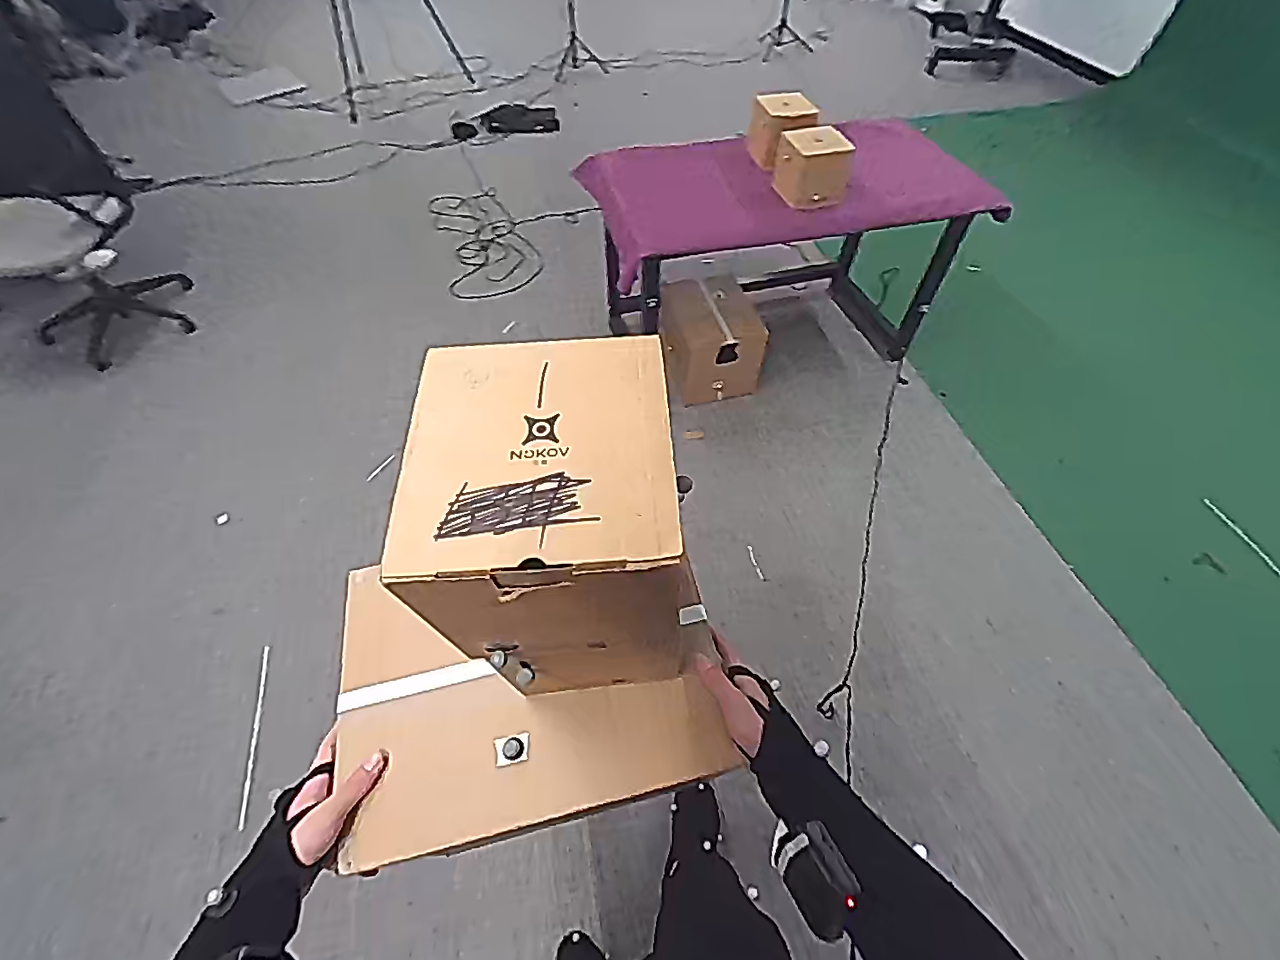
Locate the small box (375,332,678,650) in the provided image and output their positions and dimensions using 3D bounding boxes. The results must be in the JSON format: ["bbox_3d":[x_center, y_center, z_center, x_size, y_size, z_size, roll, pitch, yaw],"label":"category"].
[{"bbox_3d":[-0.059,0.018,0.394,0.168,0.176,0.179,-3,57,0],"label":"small box"}]

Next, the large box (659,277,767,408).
[{"bbox_3d":[0.279,-0.560,2.203,0.320,0.320,0.408,-12,53,-9],"label":"large box"}]

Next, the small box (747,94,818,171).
[{"bbox_3d":[0.476,-1.180,1.836,0.168,0.176,0.179,-10,55,-7],"label":"small box"}]

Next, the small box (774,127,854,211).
[{"bbox_3d":[0.529,-0.963,1.675,0.168,0.176,0.179,-11,54,-6],"label":"small box"}]
